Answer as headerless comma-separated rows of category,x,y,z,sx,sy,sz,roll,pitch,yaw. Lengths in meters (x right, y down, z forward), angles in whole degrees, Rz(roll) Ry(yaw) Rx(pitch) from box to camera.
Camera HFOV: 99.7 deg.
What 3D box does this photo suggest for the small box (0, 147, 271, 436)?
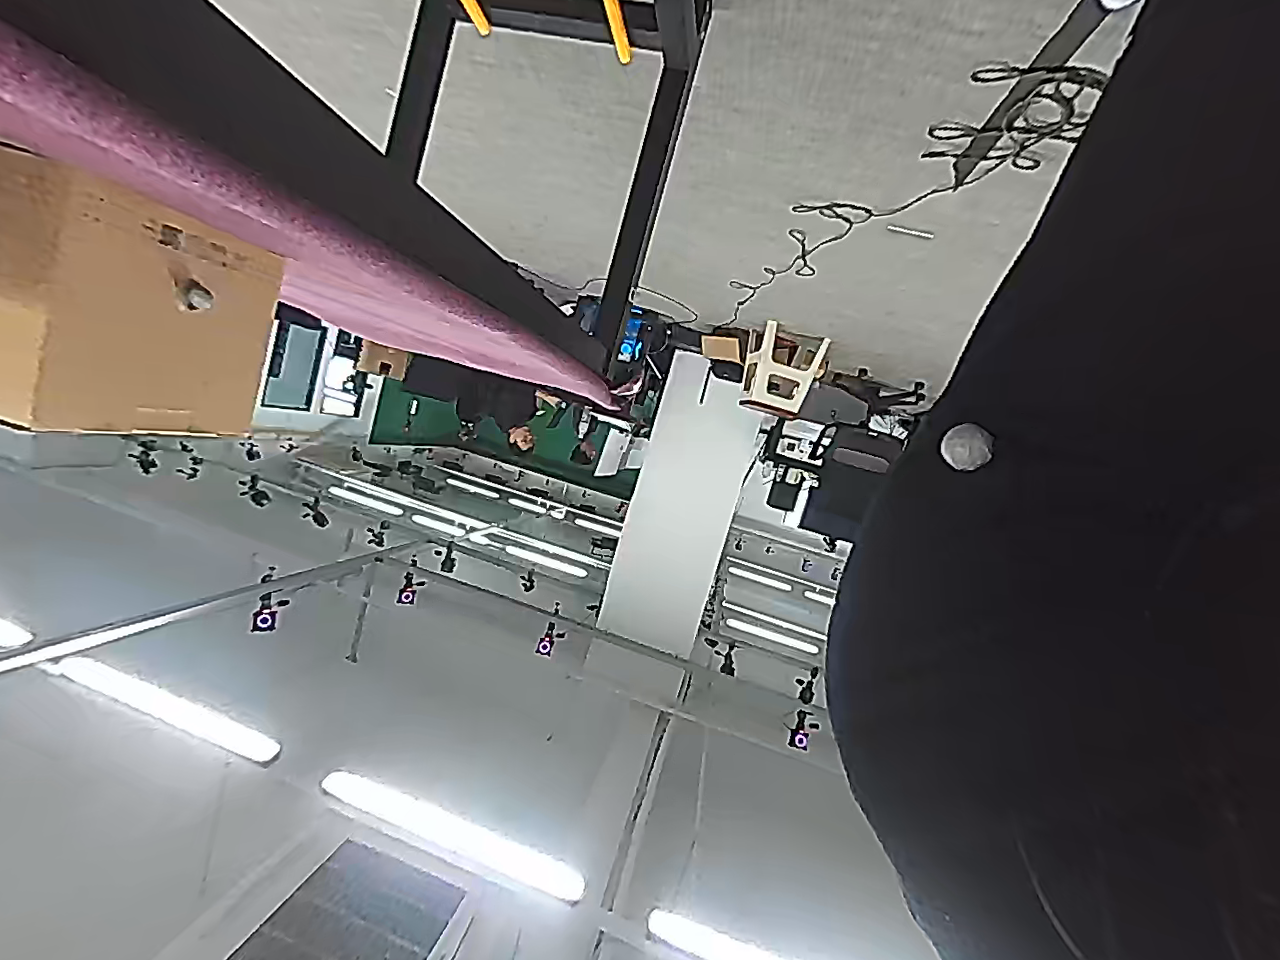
small box,-0.430,-0.140,0.415,0.179,0.176,0.168,17,-174,6
